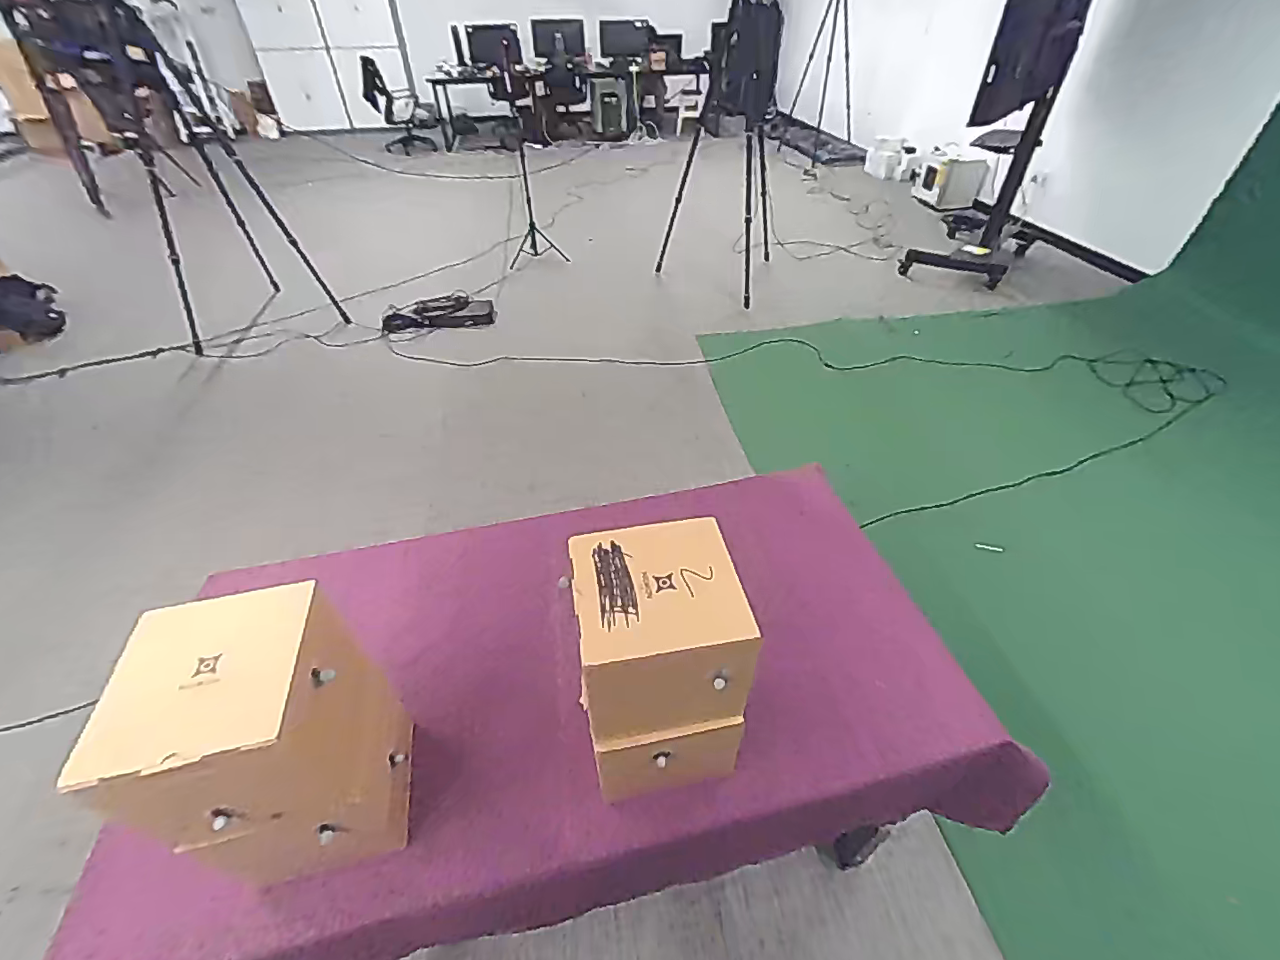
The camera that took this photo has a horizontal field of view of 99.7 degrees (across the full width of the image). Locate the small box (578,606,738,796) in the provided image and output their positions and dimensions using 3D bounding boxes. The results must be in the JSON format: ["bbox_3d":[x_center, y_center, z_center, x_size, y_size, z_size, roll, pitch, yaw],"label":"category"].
[{"bbox_3d":[0.019,0.297,0.726,0.179,0.176,0.168,-8,43,-8],"label":"small box"}]

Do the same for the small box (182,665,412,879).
[{"bbox_3d":[-0.397,0.359,0.669,0.179,0.176,0.168,-10,42,-10],"label":"small box"}]

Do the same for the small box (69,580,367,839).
[{"bbox_3d":[-0.403,0.236,0.563,0.168,0.176,0.179,-10,44,-10],"label":"small box"}]
